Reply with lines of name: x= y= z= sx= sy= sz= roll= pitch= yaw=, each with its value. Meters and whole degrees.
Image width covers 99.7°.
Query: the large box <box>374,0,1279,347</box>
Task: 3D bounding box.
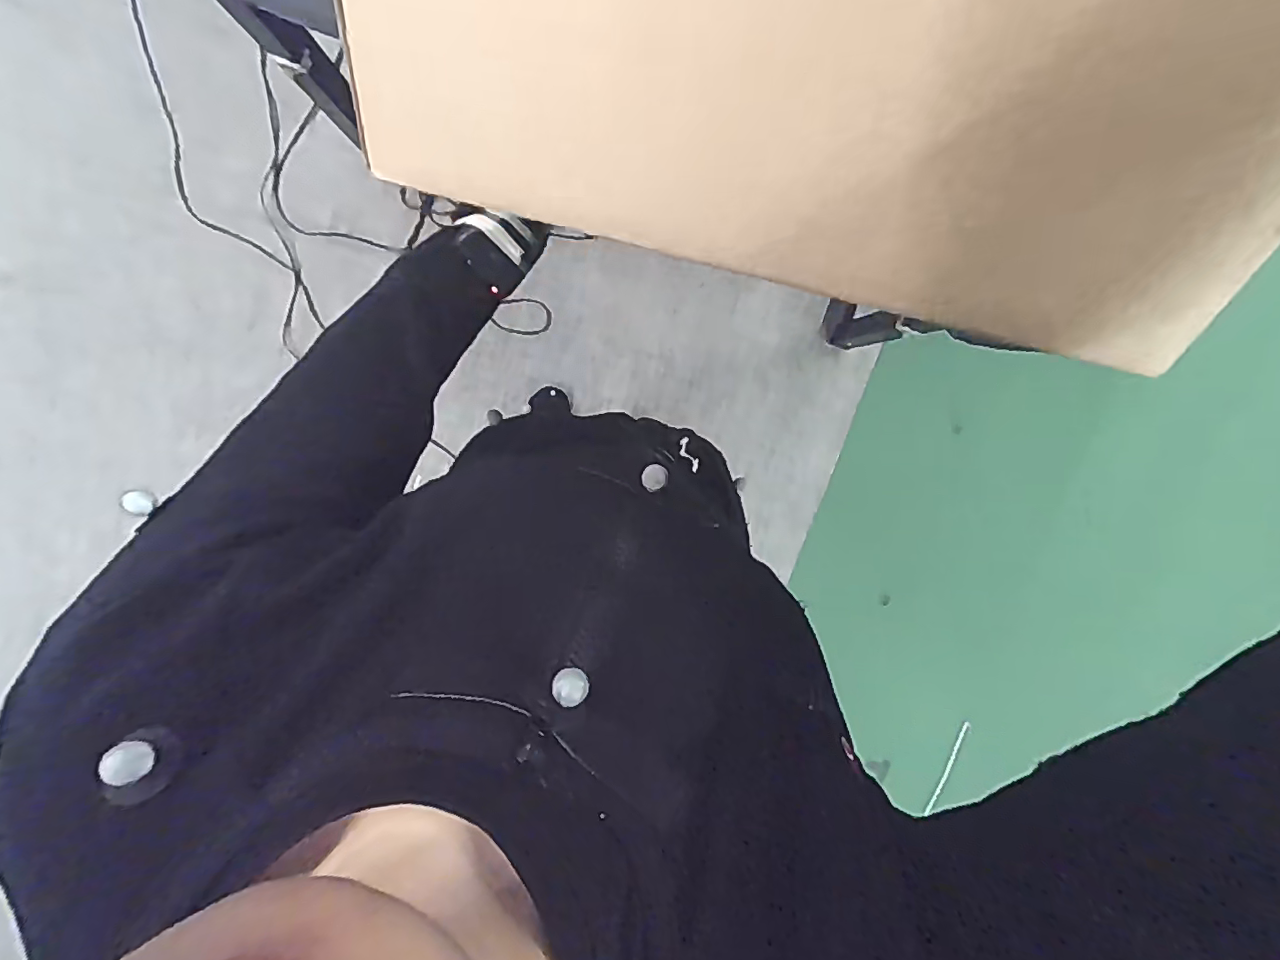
large box: x=0.111 y=-0.310 z=0.295 sx=0.408 sy=0.320 sz=0.320 roll=15 pitch=130 yaw=7
